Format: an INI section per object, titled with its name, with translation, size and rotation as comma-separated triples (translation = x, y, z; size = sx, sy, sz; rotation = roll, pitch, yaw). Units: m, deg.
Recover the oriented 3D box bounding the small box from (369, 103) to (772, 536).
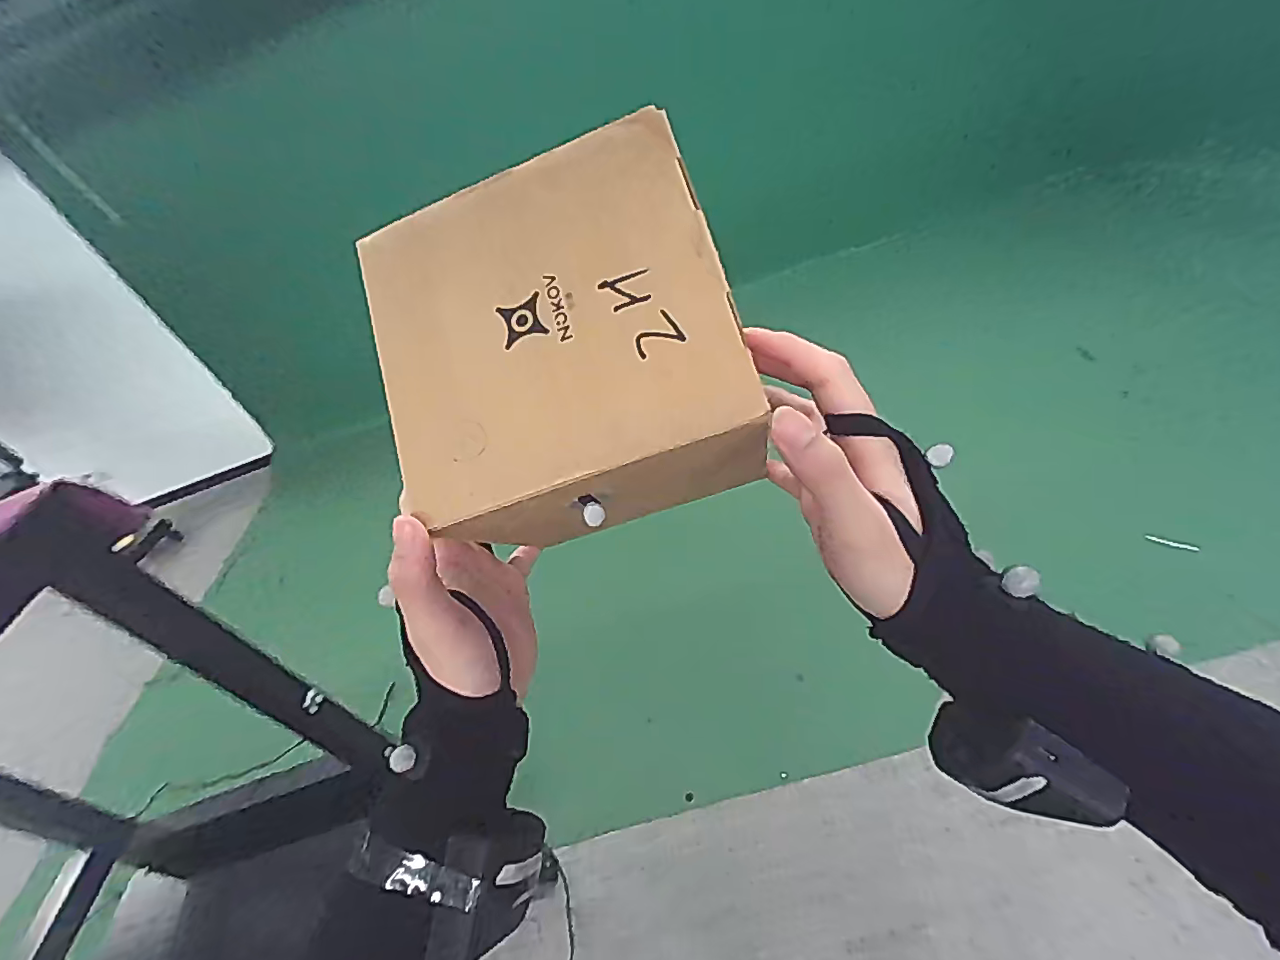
[small box]
translation = -0.026, -0.067, 0.333
size = 0.179, 0.176, 0.168
rotation = -18, 78, 9
